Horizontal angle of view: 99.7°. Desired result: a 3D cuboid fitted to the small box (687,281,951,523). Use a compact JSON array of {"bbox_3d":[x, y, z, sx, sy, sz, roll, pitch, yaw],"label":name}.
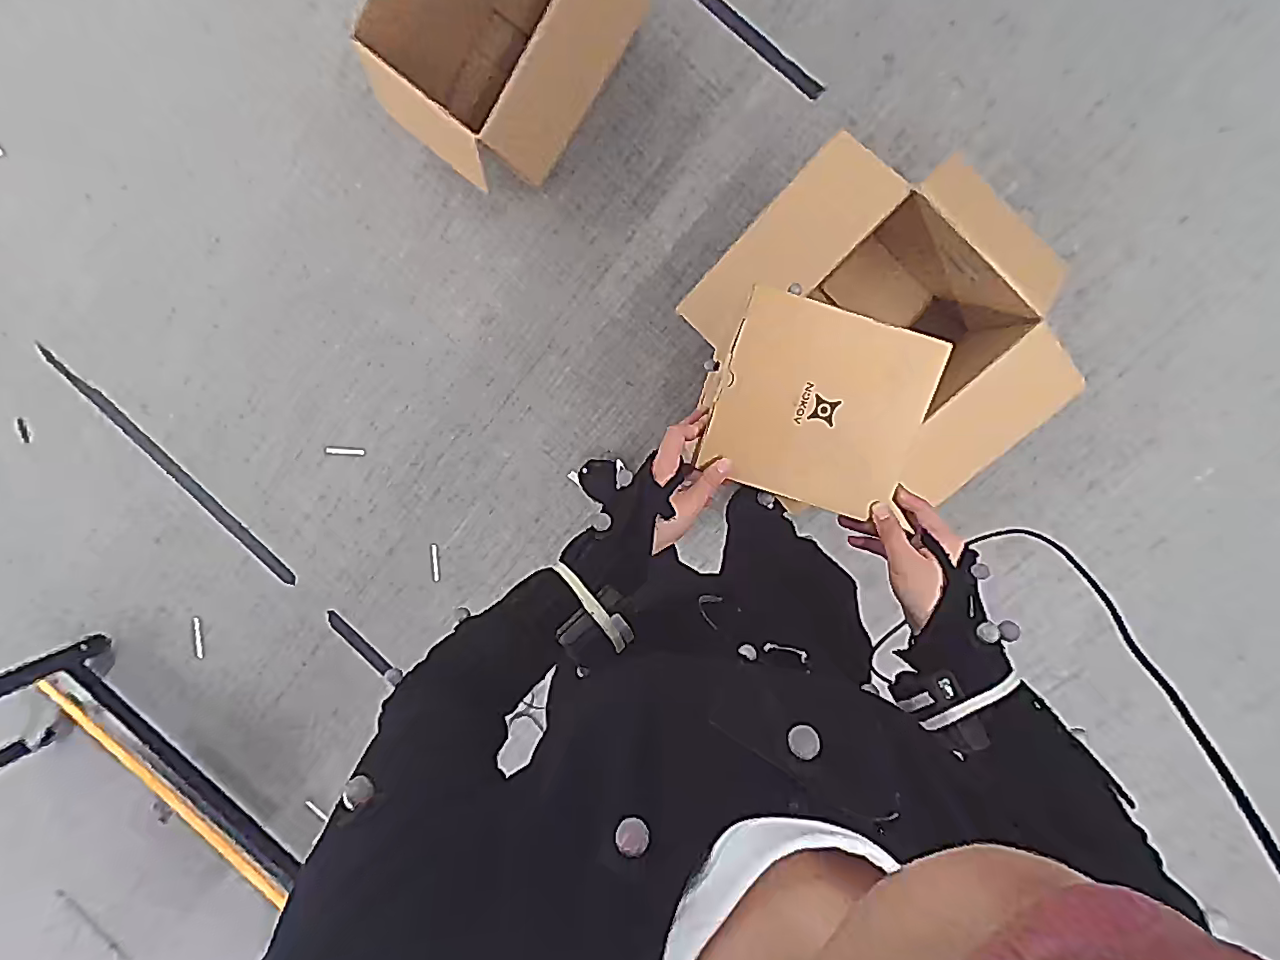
[{"bbox_3d":[0.153,-0.076,0.531,0.179,0.176,0.168,17,100,1],"label":"small box"}]
